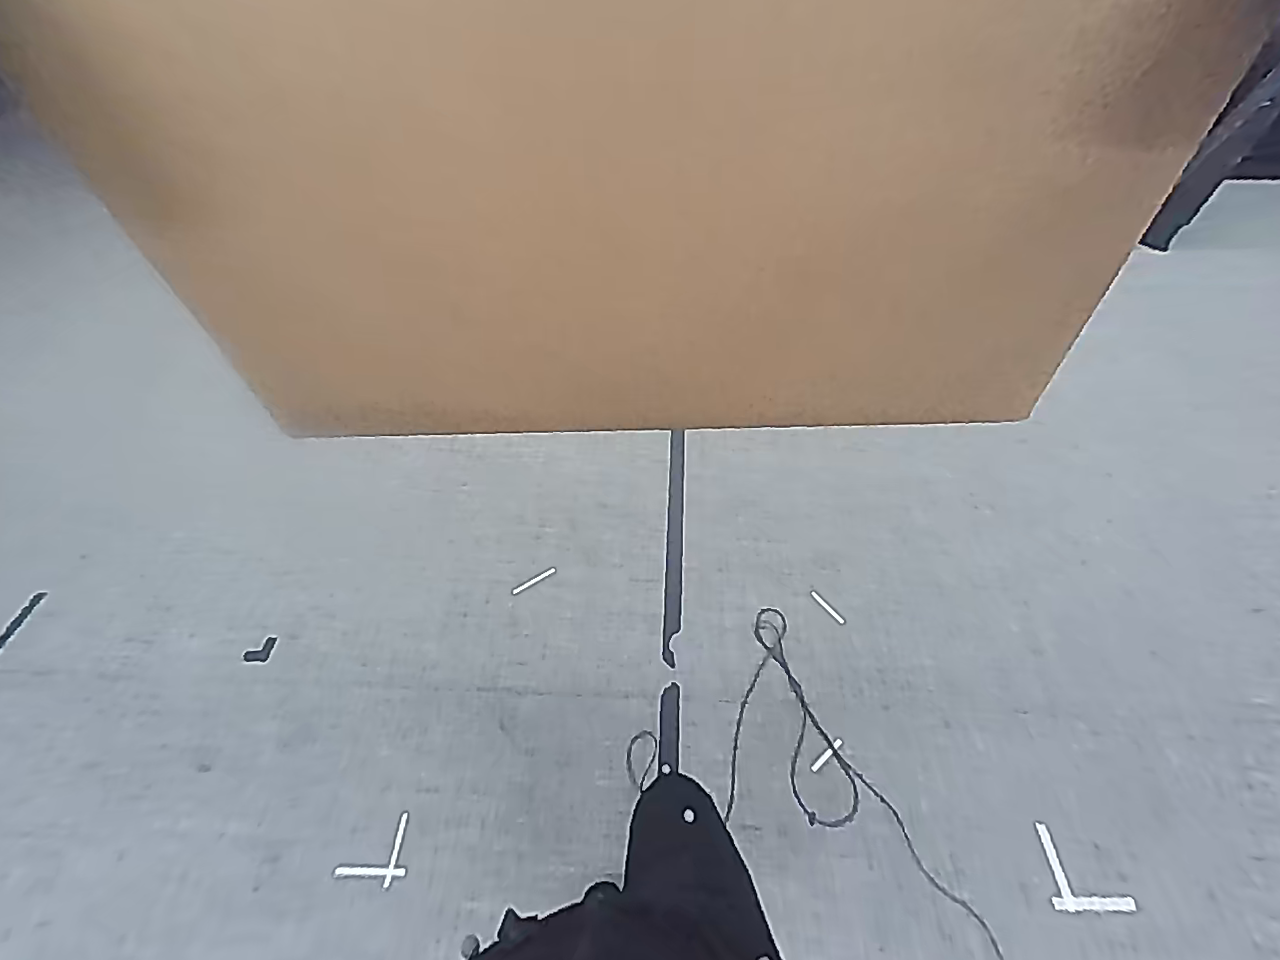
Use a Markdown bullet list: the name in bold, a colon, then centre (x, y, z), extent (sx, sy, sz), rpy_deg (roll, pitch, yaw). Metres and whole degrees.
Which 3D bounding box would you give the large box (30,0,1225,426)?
- **large box**: centre (-0.003, -0.246, 0.298), extent (0.408, 0.320, 0.320), rpy_deg (-1, 49, 3)
